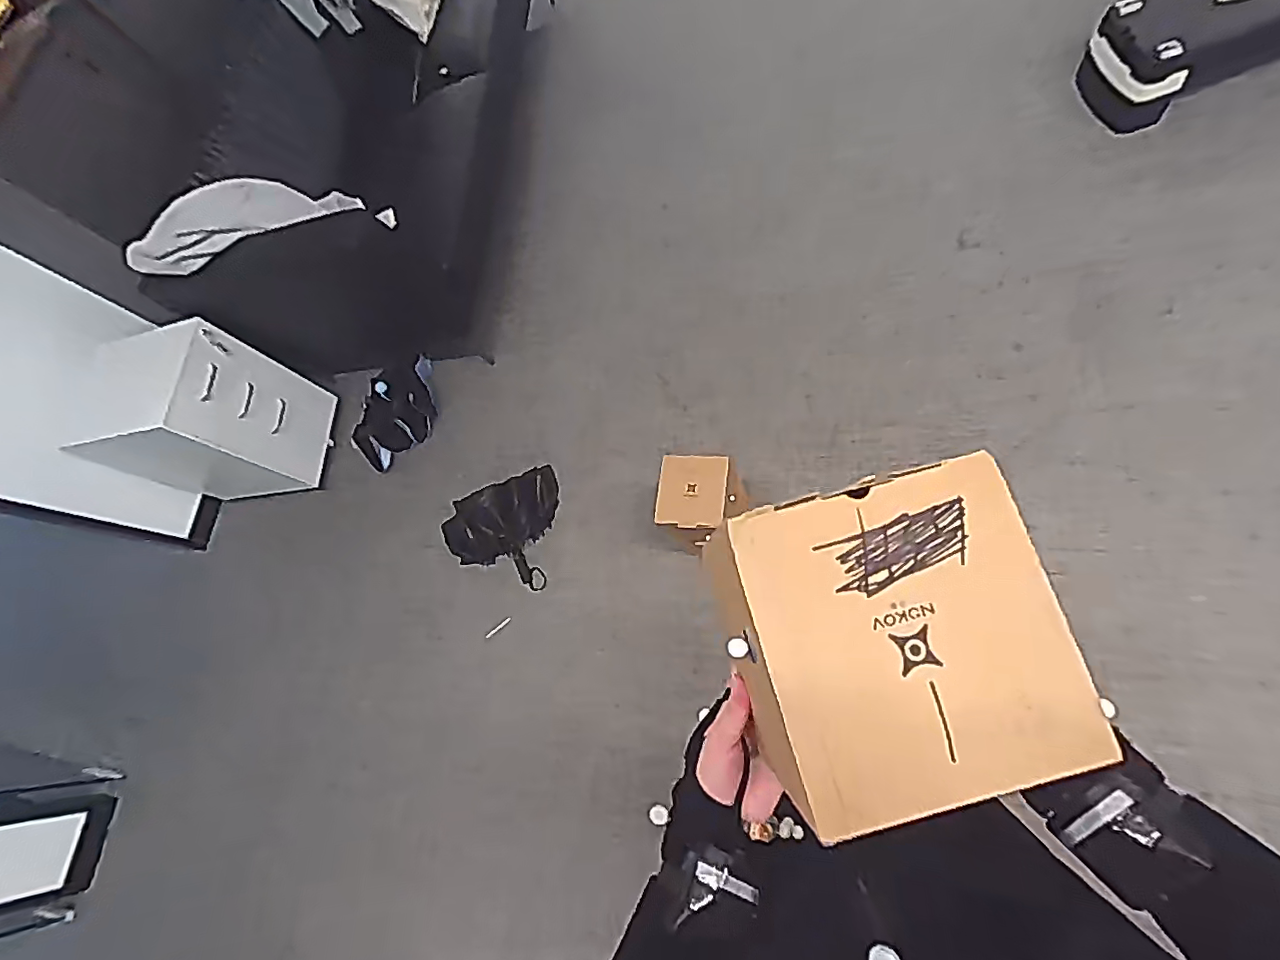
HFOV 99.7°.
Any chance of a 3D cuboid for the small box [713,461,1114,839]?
[{"bbox_3d":[0.156,0.106,0.382,0.168,0.176,0.179,-15,78,0],"label":"small box"}]
